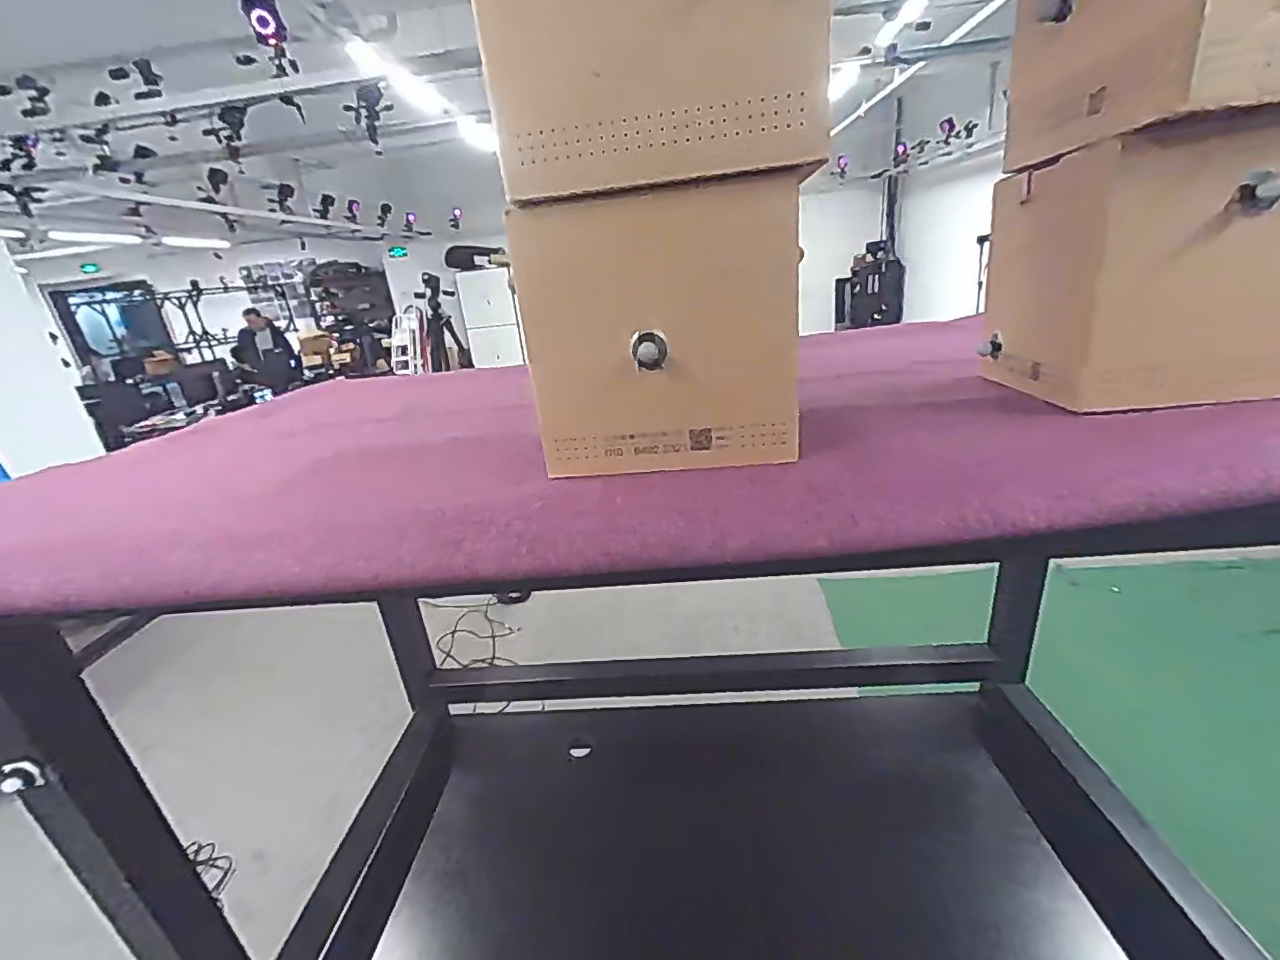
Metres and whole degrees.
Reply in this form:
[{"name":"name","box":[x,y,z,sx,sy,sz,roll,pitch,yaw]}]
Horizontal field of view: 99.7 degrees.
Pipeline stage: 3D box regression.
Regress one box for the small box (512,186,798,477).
[{"name":"small box","box":[0.023,-0.105,0.404,0.168,0.176,0.179,-3,21,7]}]

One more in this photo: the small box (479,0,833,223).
[{"name":"small box","box":[0.016,-0.252,0.334,0.179,0.176,0.168,-4,20,8]}]

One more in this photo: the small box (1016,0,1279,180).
[{"name":"small box","box":[0.361,-0.292,0.328,0.179,0.176,0.168,-5,19,7]}]

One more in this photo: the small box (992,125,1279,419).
[{"name":"small box","box":[0.384,-0.145,0.395,0.179,0.176,0.168,-3,19,11]}]
